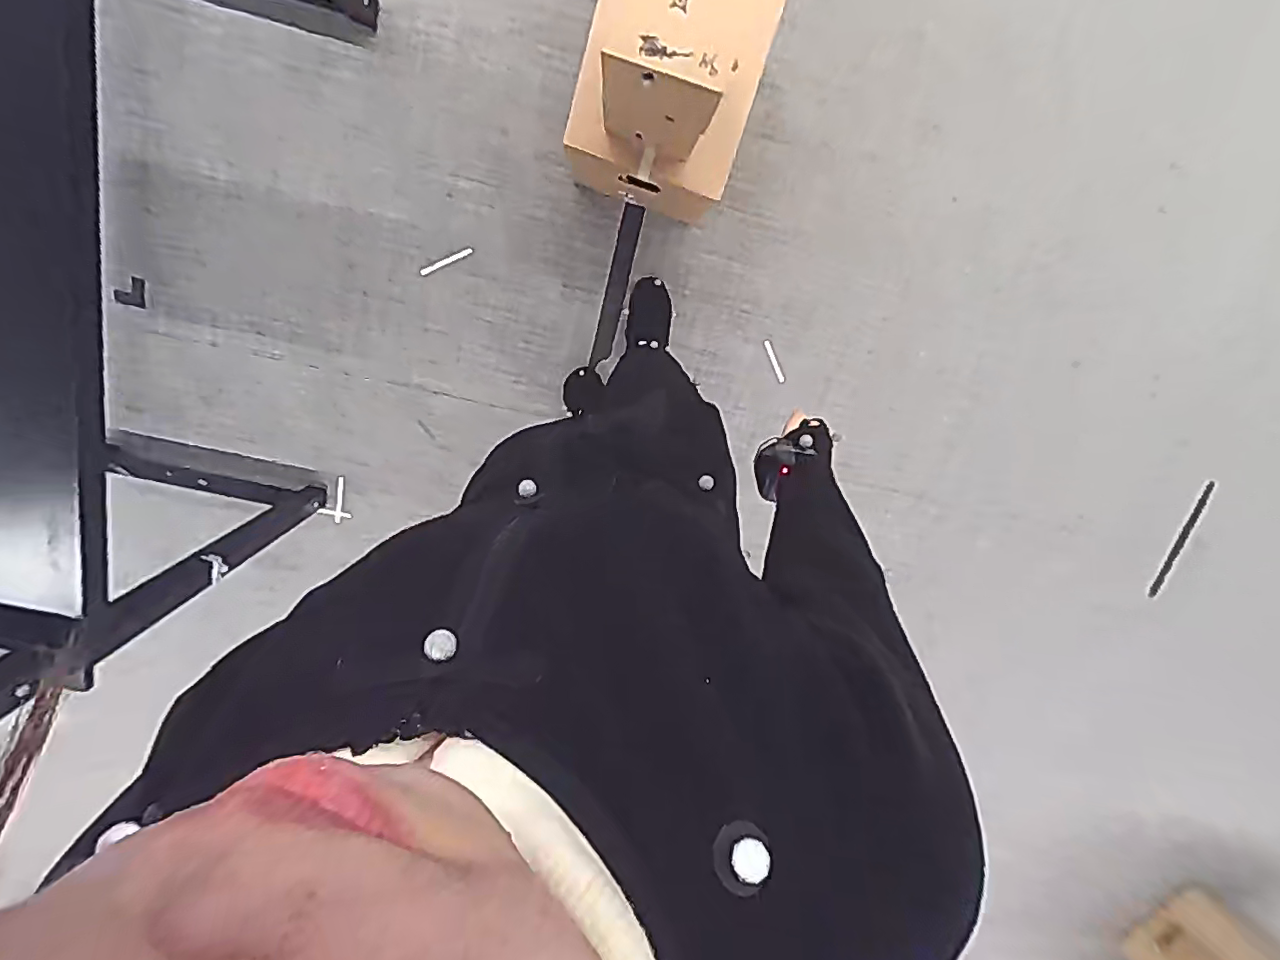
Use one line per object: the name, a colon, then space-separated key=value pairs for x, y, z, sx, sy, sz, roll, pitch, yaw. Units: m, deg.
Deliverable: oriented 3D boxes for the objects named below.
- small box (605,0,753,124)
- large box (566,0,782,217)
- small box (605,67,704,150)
small box: x=0.053 y=-0.620 z=0.720 sx=0.168 sy=0.176 sz=0.179 roll=15 pitch=105 yaw=-6
large box: x=0.057 y=-0.807 z=1.089 sx=0.320 sy=0.320 sz=0.408 roll=16 pitch=106 yaw=-9
small box: x=0.044 y=-0.674 z=0.874 sx=0.168 sy=0.176 sz=0.179 roll=16 pitch=107 yaw=-7
